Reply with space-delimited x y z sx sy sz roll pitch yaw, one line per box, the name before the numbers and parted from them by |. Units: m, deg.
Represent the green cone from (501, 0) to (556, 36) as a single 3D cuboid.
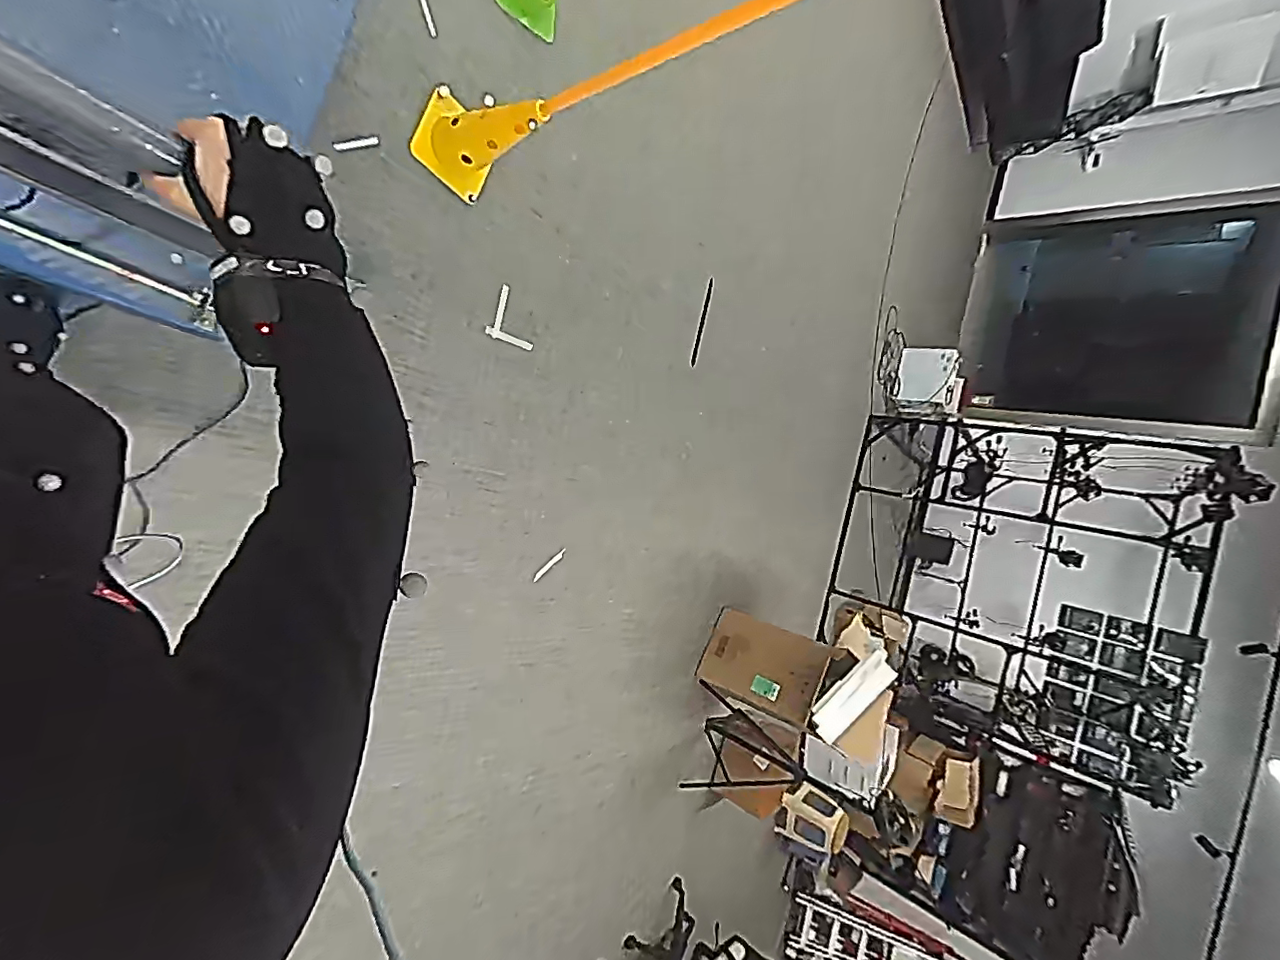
green cone | -0.172 -1.321 1.353 0.200 0.368 0.202 -6 106 -50
